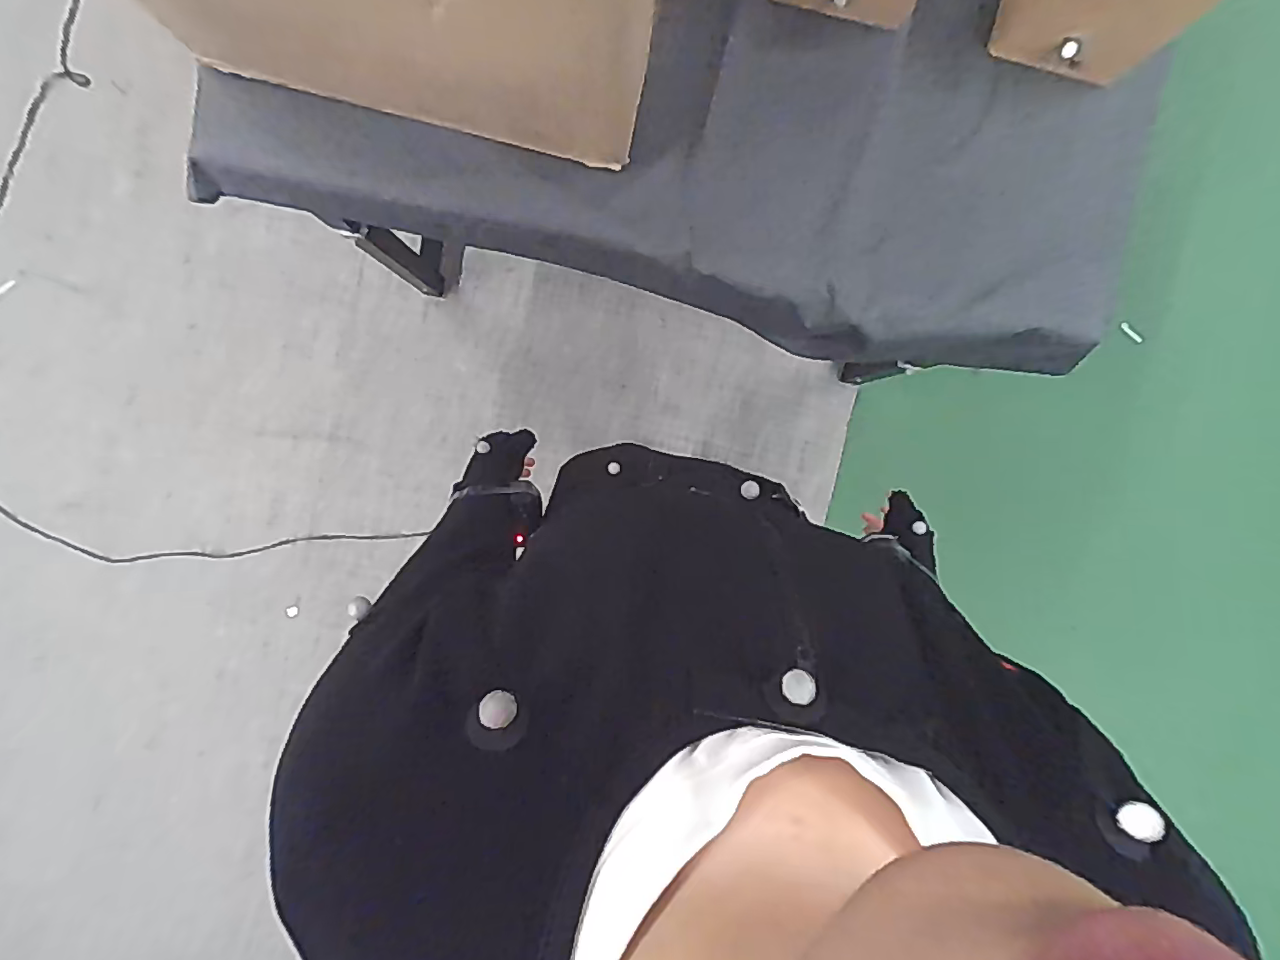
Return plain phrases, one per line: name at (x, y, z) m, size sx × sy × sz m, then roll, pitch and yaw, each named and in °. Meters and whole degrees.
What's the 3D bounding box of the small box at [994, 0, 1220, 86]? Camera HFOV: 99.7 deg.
small box at (0.554, -0.614, 0.624) m, size 0.168 × 0.176 × 0.179 m, roll 14°, pitch 95°, yaw -3°
